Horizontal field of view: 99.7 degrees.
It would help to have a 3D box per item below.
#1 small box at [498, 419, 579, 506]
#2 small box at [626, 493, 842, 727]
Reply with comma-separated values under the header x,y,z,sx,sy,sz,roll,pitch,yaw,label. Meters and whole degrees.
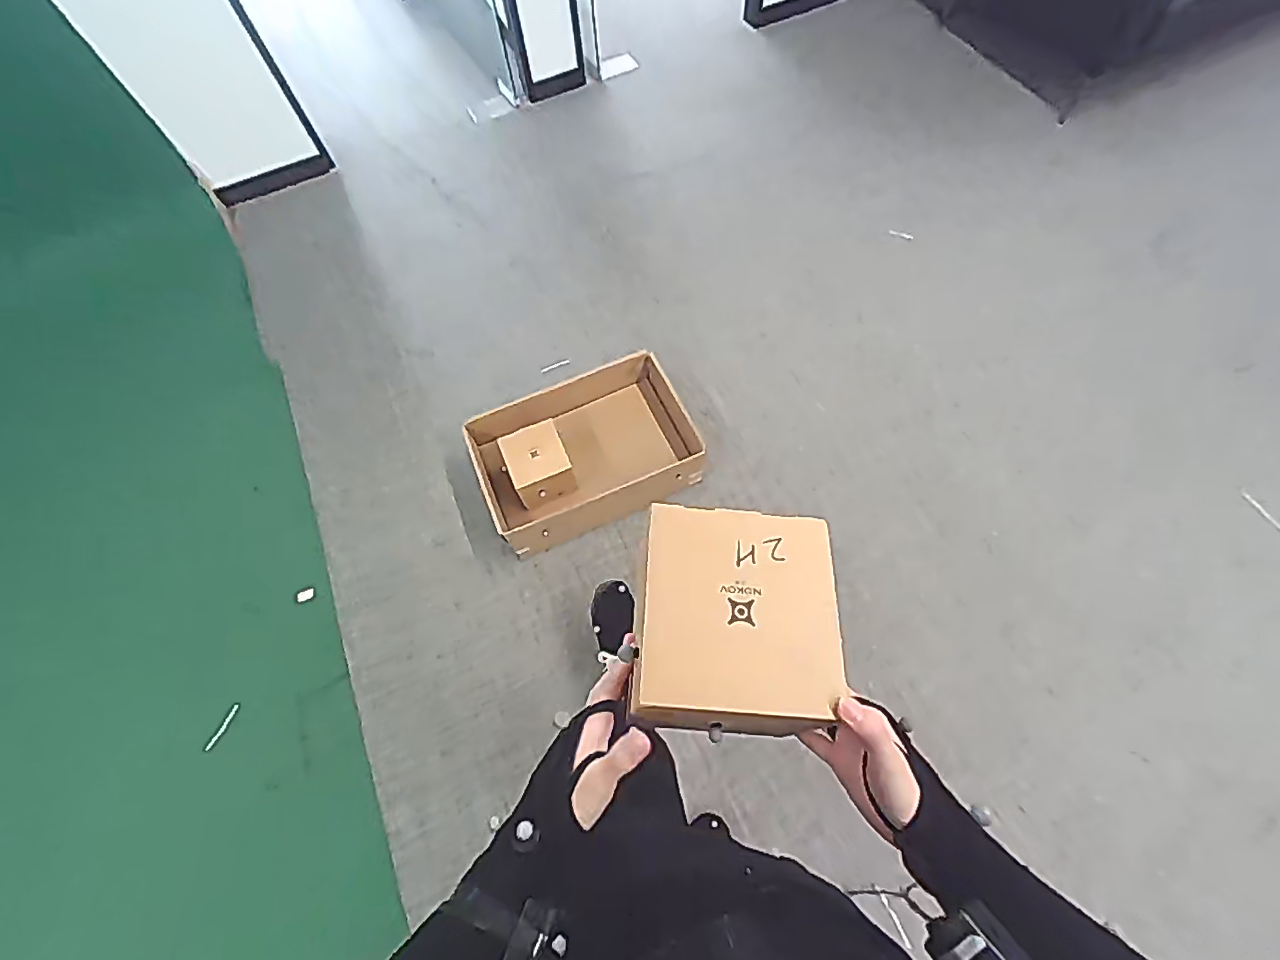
x,y,z,sx,sy,sz,roll,pitch,yaw,label
-0.288,-0.041,1.566,0.168,0.176,0.179,-22,65,-8,small box
0.078,0.134,0.524,0.168,0.176,0.179,7,60,-2,small box
